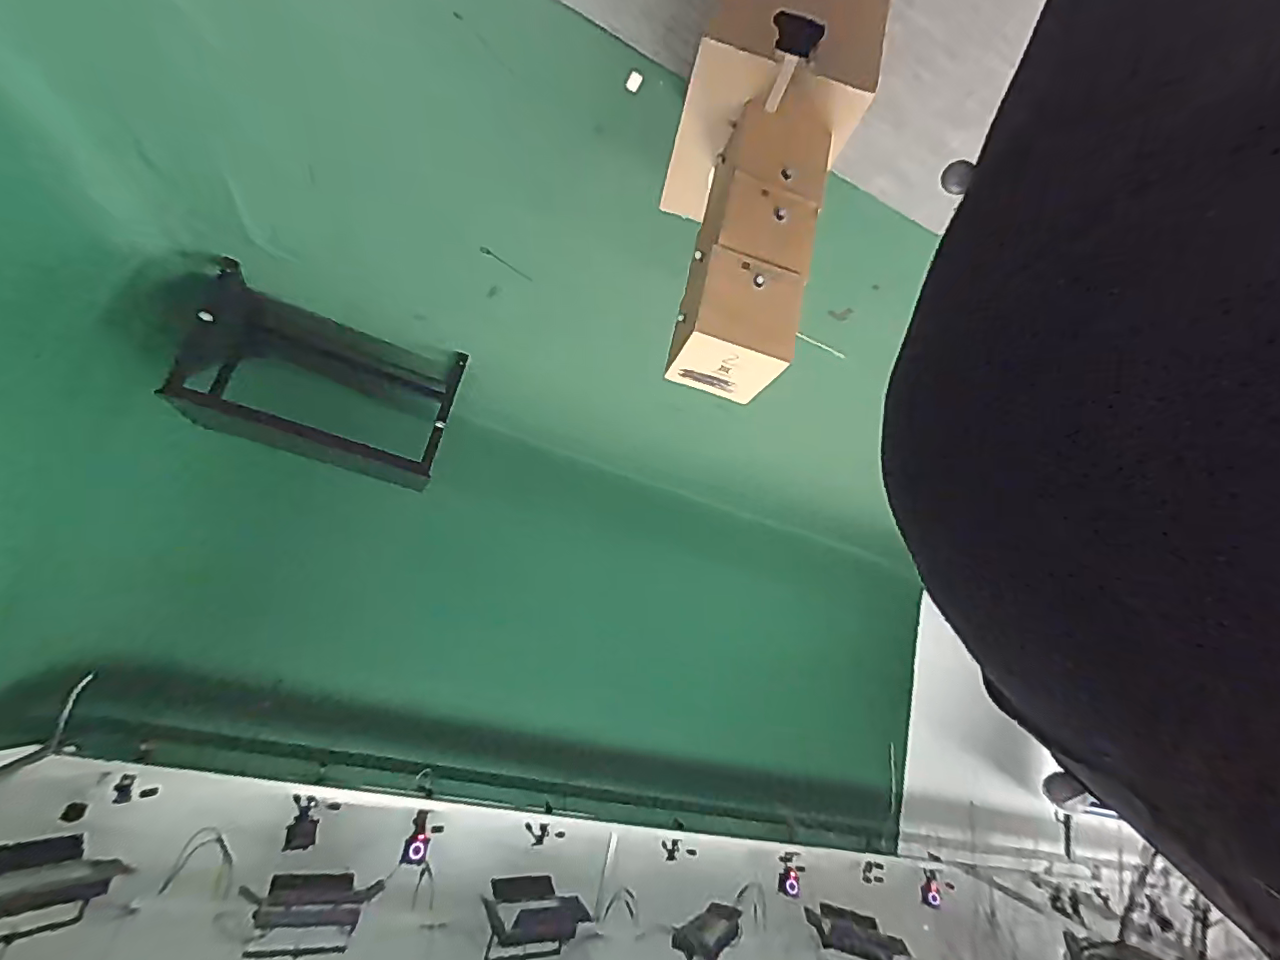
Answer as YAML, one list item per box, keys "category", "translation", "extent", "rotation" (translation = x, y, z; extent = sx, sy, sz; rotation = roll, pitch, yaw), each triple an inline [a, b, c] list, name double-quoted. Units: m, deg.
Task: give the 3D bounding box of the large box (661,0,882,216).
- category: "large box"
  translation: [0.251, -0.795, 1.116]
  extent: [0.320, 0.320, 0.408]
  rotation: [15, 166, -4]

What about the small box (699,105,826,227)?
- category: "small box"
  translation: [0.232, -0.562, 1.029]
  extent: [0.179, 0.176, 0.168]
  rotation: [15, 164, -10]

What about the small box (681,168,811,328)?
- category: "small box"
  translation: [0.192, -0.413, 0.980]
  extent: [0.168, 0.176, 0.179]
  rotation: [16, 163, -11]
